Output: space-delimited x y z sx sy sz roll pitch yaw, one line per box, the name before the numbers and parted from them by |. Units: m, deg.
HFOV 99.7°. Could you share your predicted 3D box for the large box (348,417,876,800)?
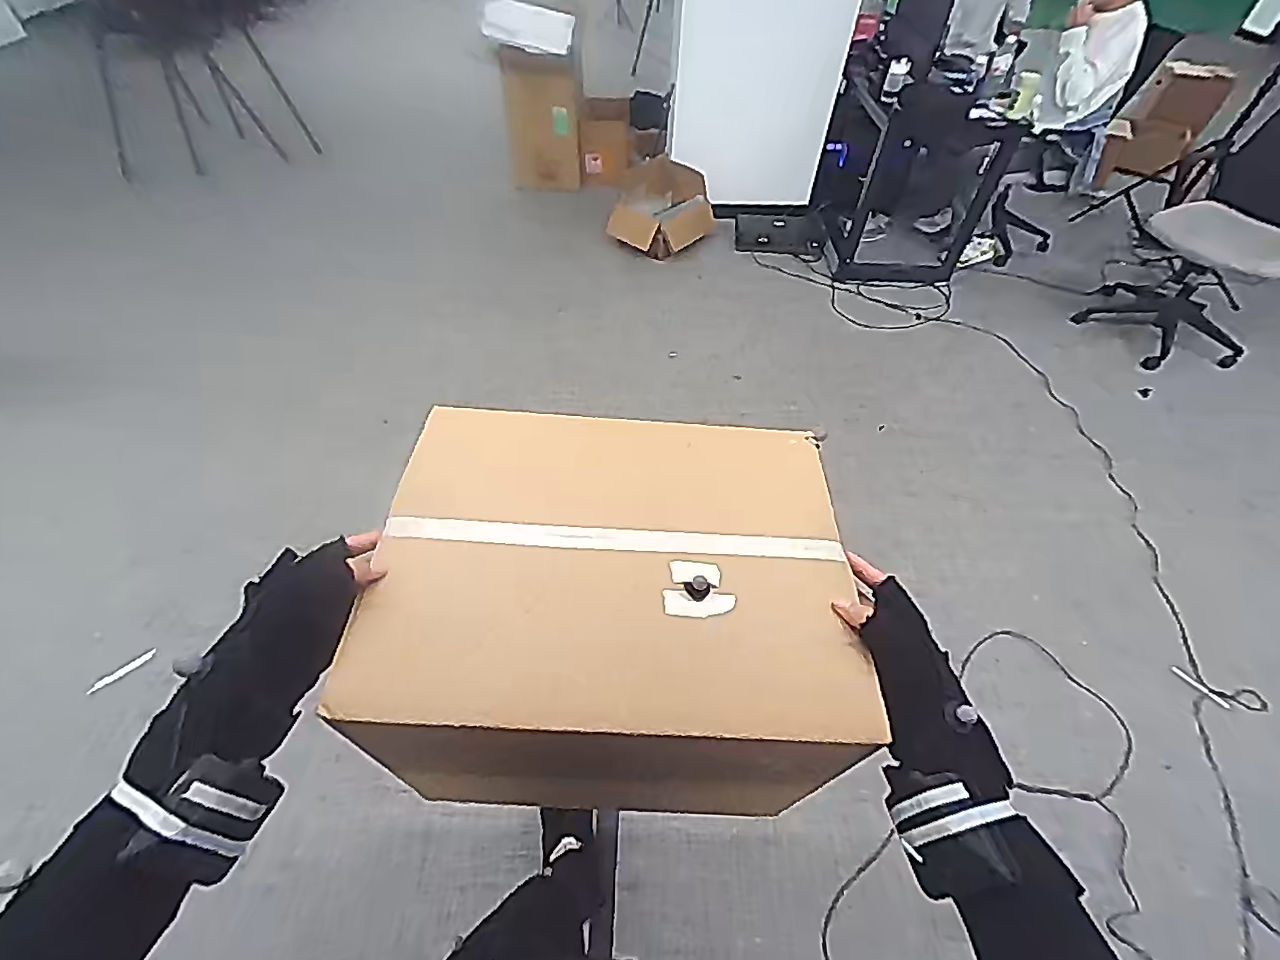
large box | -0.027 0.154 0.608 0.408 0.320 0.320 4 50 -3
